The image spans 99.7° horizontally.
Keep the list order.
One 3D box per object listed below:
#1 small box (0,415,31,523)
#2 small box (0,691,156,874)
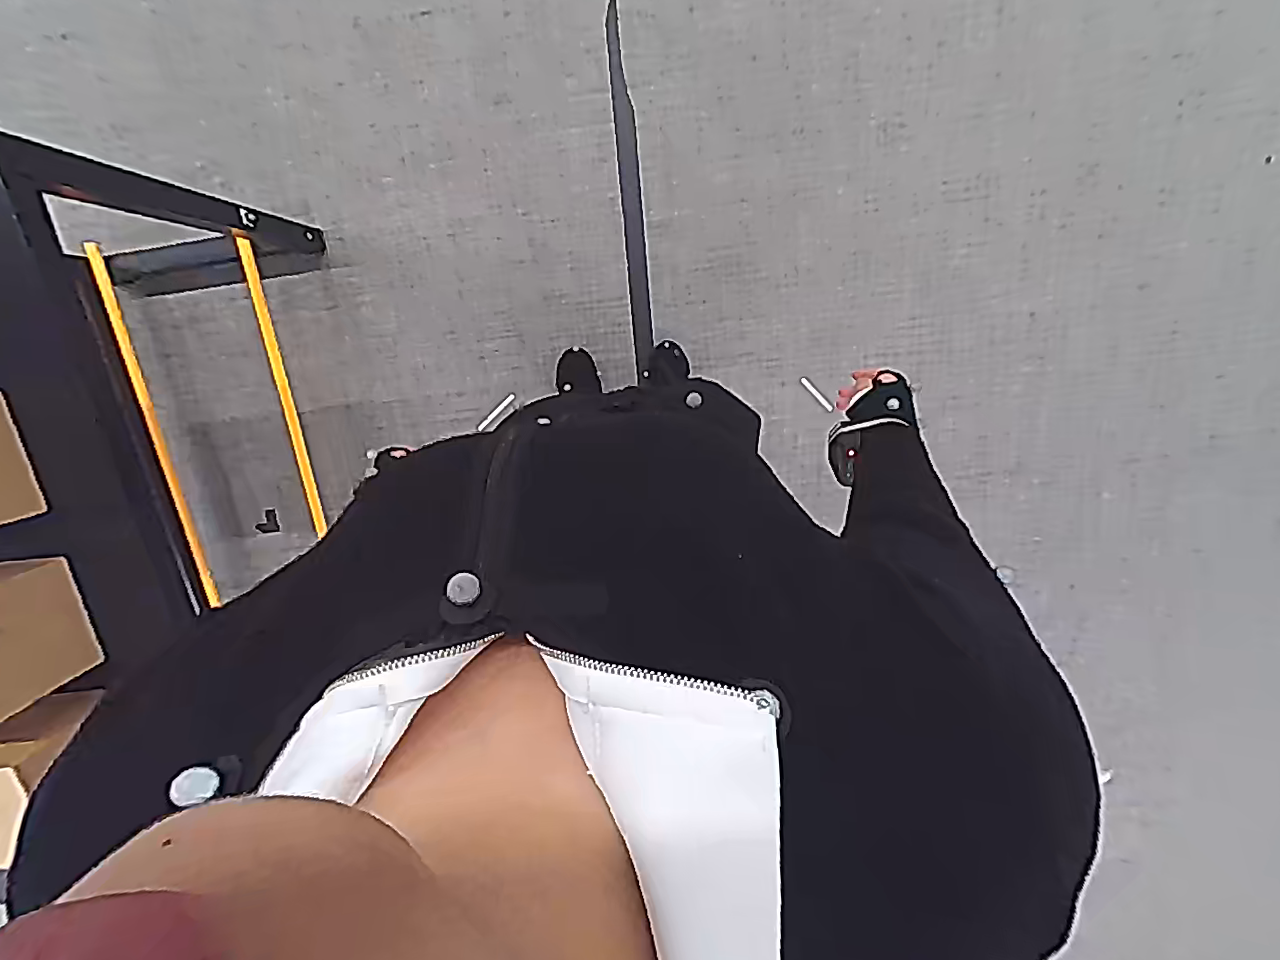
[{"bbox_3d":[-0.940,-0.009,0.671,0.168,0.176,0.179,-5,104,3],"label":"small box"},{"bbox_3d":[-0.881,0.433,0.789,0.179,0.176,0.168,-7,106,2],"label":"small box"}]
